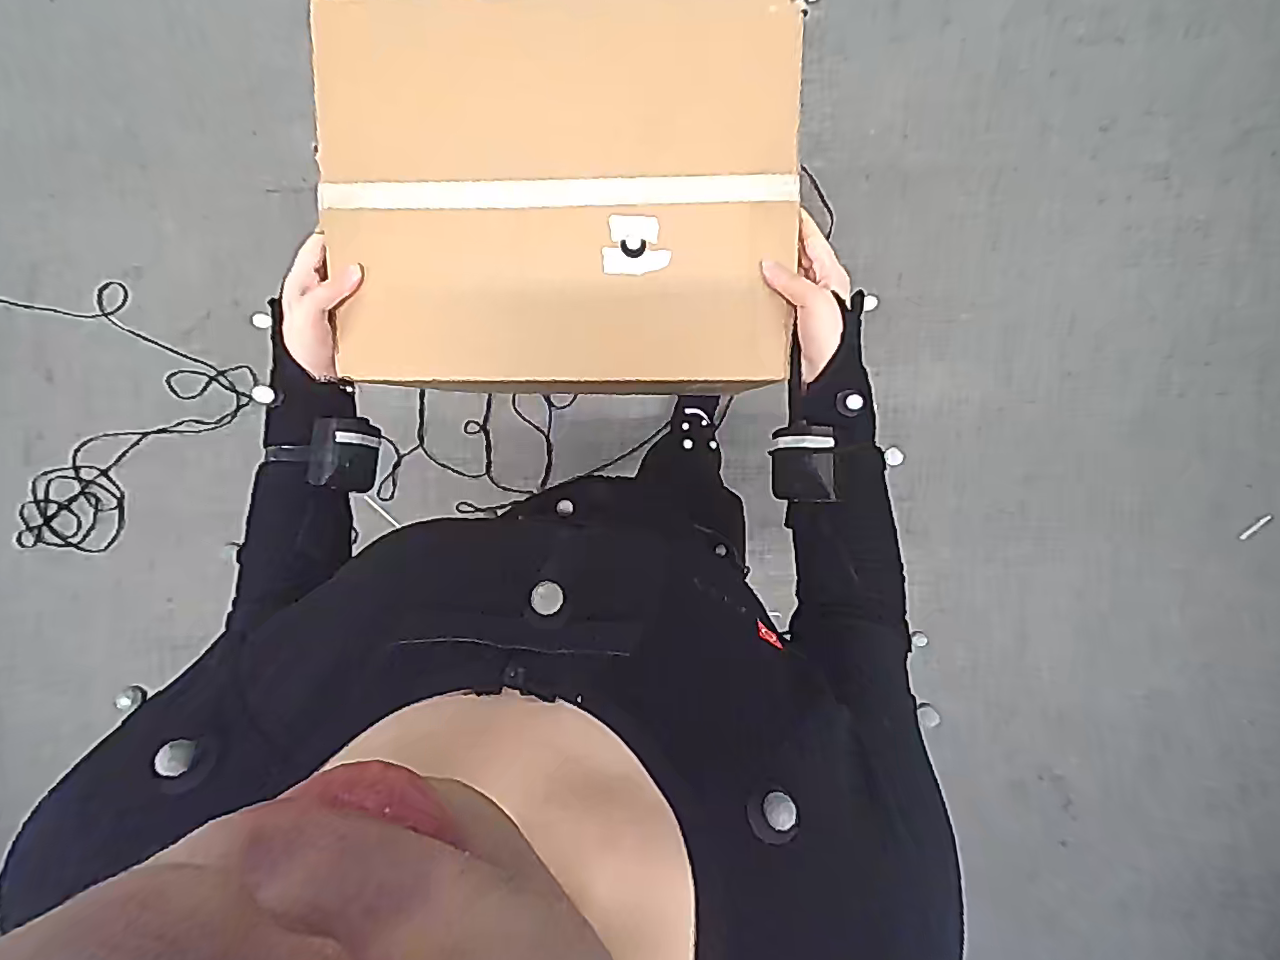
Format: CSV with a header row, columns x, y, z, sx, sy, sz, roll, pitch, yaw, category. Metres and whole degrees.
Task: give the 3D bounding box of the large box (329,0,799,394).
x,y,z,sx,sy,sz,roll,pitch,yaw,category
-0.063,-0.265,0.616,0.408,0.320,0.320,0,97,1,large box
